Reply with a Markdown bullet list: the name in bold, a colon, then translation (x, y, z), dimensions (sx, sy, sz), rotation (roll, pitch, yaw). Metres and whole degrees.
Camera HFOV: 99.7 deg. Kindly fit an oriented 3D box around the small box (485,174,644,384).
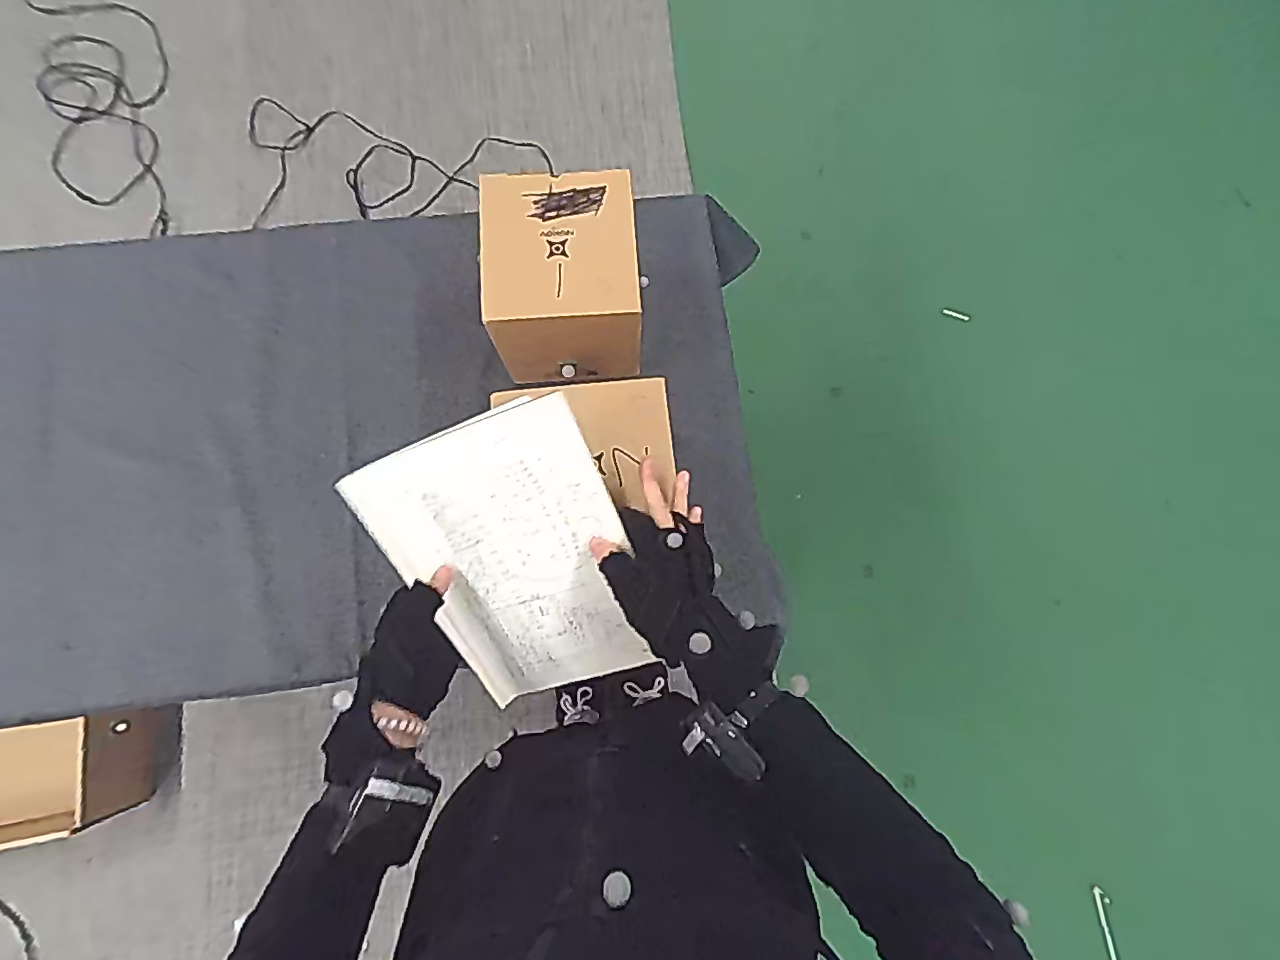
- **small box**: translation (-0.084, -0.231, 0.652), dimensions (0.168, 0.176, 0.179), rotation (-4, 78, -2)
